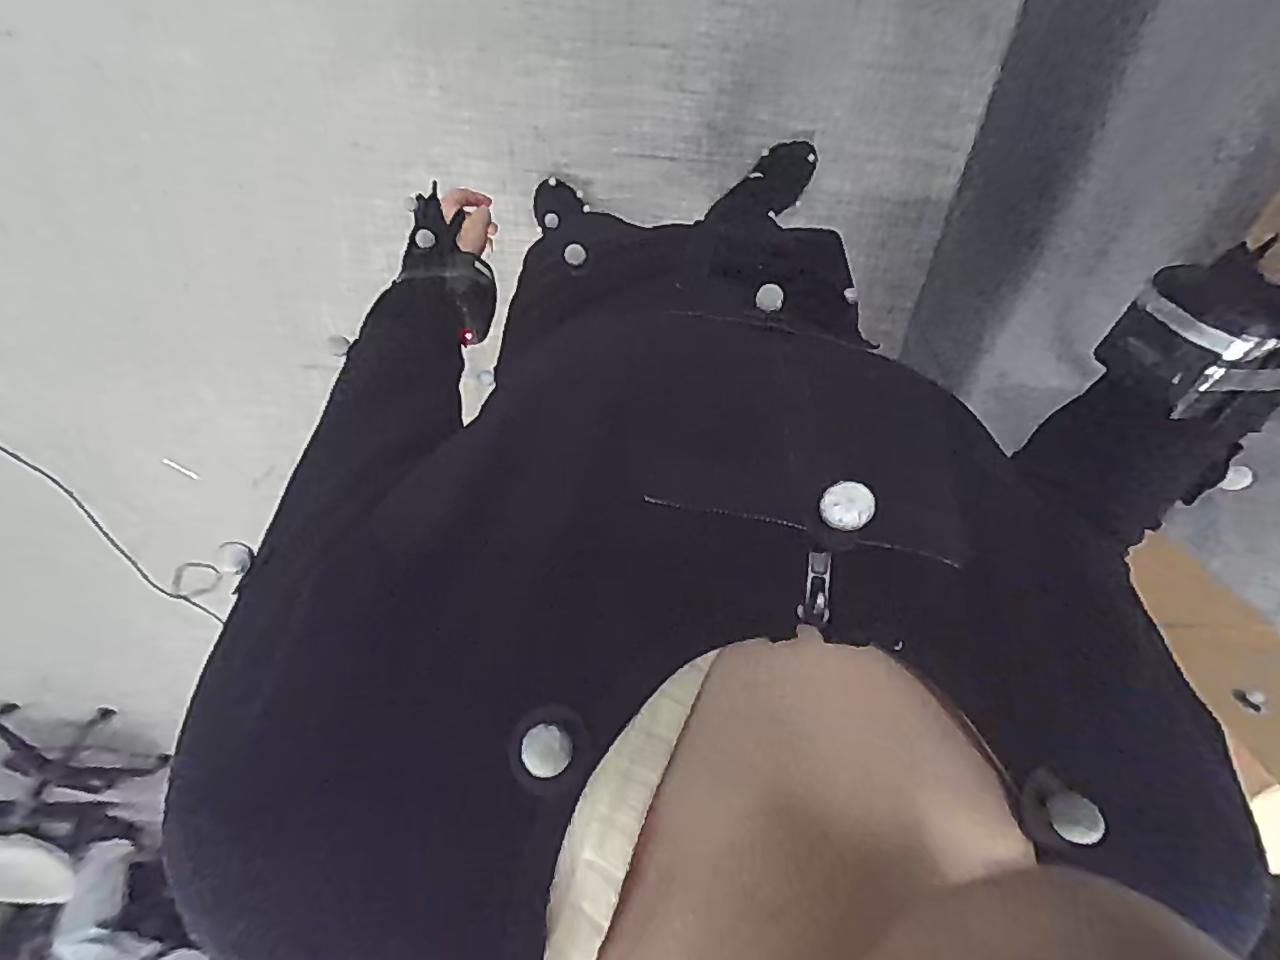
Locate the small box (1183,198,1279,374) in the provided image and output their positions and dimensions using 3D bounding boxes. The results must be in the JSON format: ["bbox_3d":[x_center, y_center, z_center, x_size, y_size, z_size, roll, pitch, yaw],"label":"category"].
[{"bbox_3d":[0.640,-0.162,0.450,0.179,0.176,0.168,6,125,-5],"label":"small box"}]
